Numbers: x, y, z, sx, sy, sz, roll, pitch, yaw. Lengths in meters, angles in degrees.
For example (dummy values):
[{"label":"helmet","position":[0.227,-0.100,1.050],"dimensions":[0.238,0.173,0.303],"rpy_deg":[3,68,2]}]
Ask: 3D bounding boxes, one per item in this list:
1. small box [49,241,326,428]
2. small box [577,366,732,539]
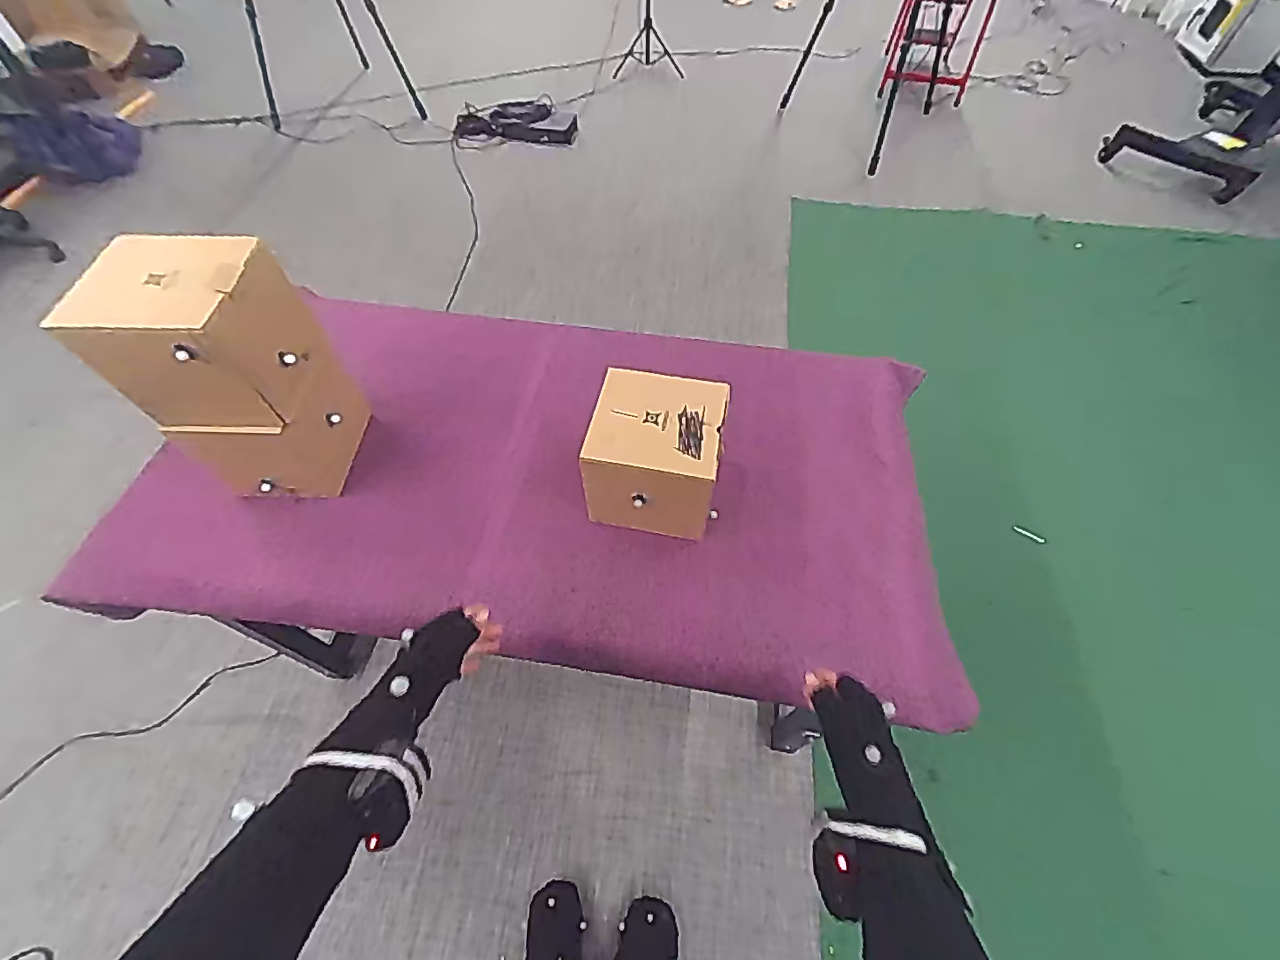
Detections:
[{"label":"small box","position":[-0.546,-0.179,0.687],"dimensions":[0.179,0.176,0.168],"rpy_deg":[0,57,0]},{"label":"small box","position":[0.023,-0.034,0.782],"dimensions":[0.179,0.176,0.168],"rpy_deg":[12,55,8]}]
